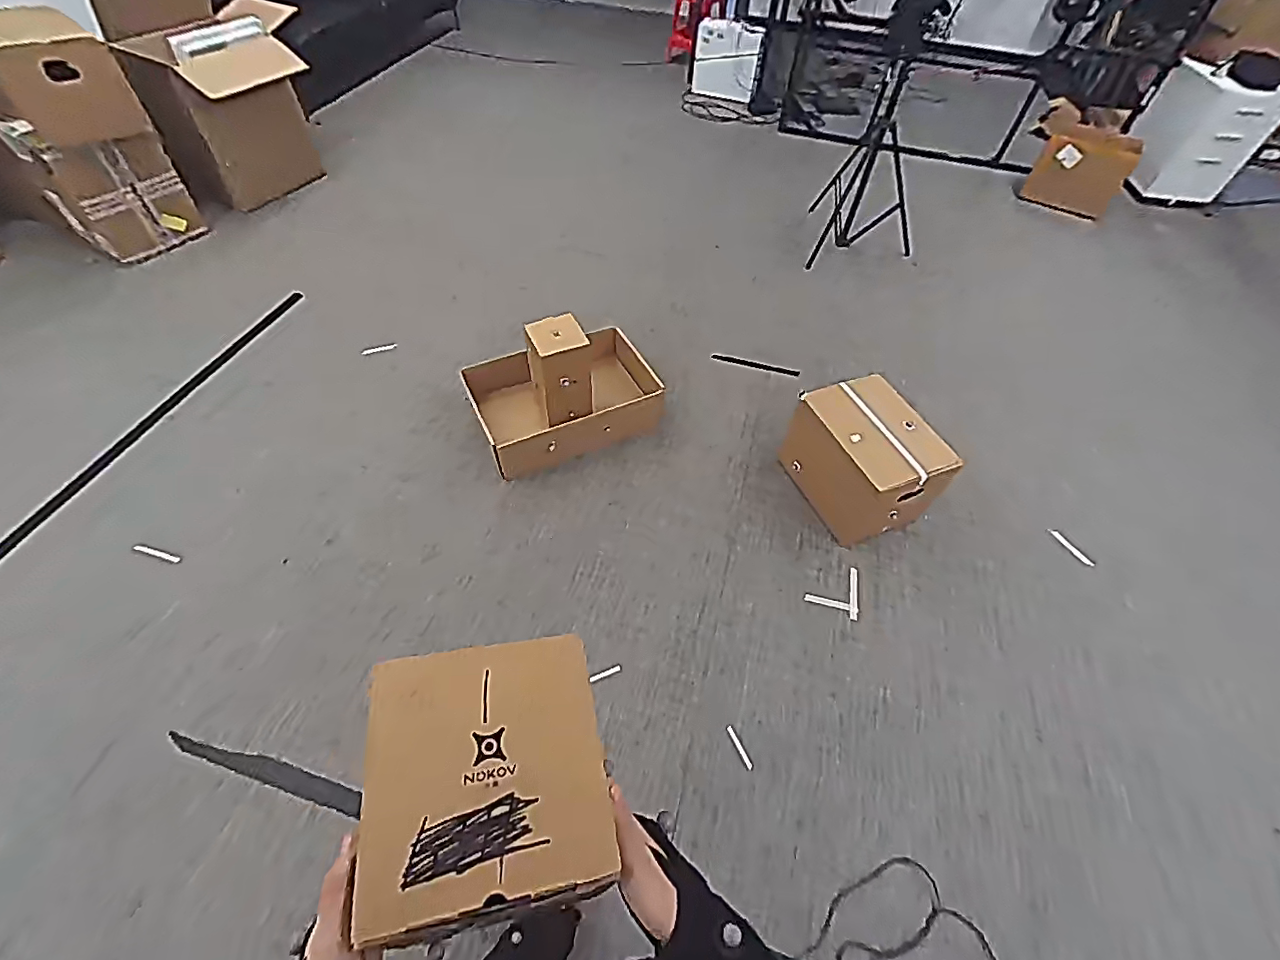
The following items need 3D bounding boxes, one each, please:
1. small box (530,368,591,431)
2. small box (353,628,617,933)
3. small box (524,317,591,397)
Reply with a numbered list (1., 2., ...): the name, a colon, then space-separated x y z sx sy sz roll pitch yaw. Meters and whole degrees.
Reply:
1. small box: -0.278 -0.305 1.910 0.168 0.176 0.179 -19 56 -16
2. small box: -0.121 0.249 0.451 0.168 0.176 0.179 -3 49 -15
3. small box: -0.271 -0.405 1.783 0.168 0.176 0.179 -21 57 -17
